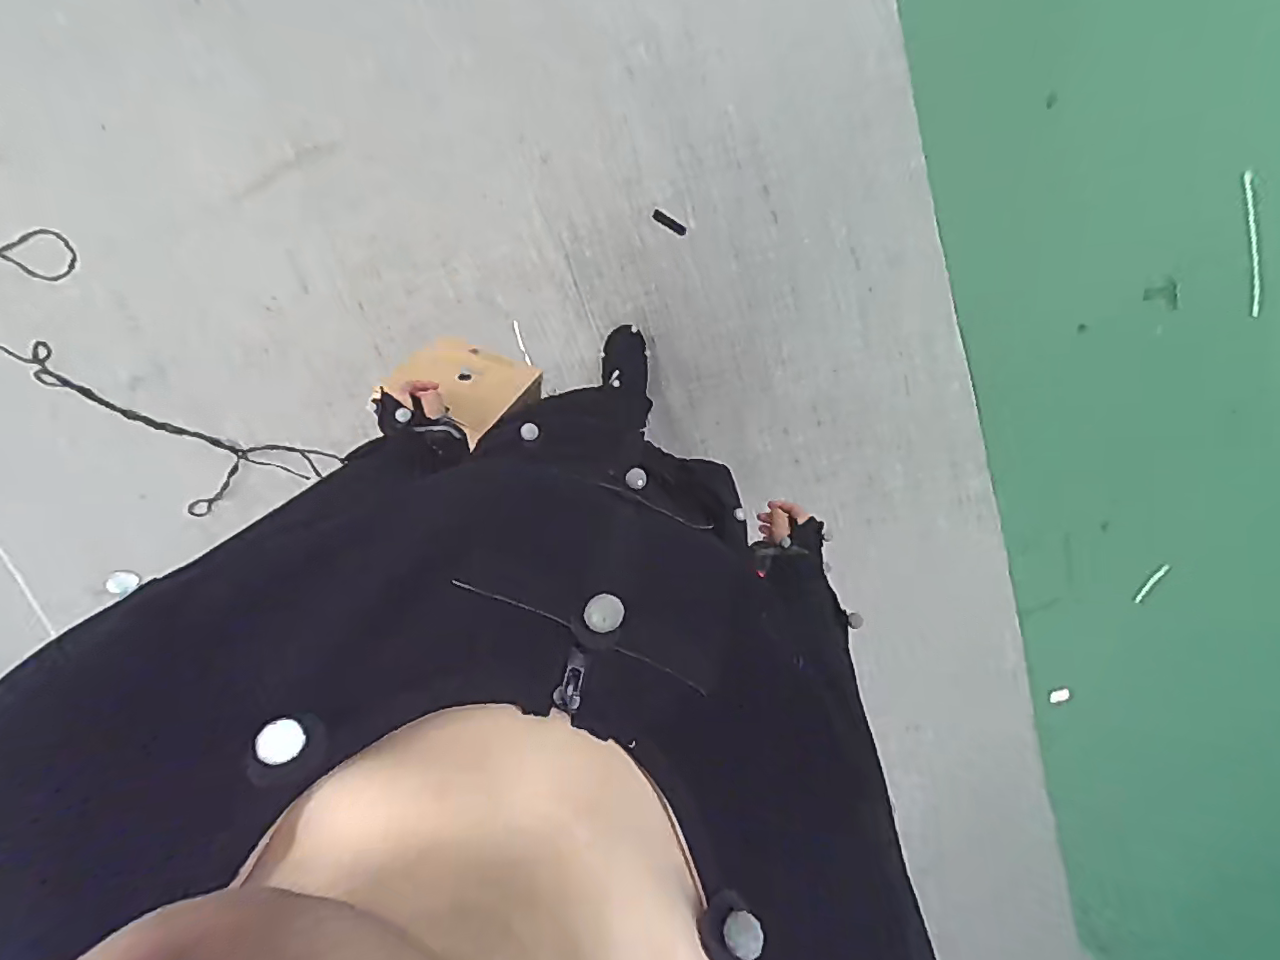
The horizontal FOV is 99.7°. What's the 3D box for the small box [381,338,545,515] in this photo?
[{"bbox_3d":[-0.255,-0.086,0.817,0.168,0.176,0.179,22,138,7],"label":"small box"}]
